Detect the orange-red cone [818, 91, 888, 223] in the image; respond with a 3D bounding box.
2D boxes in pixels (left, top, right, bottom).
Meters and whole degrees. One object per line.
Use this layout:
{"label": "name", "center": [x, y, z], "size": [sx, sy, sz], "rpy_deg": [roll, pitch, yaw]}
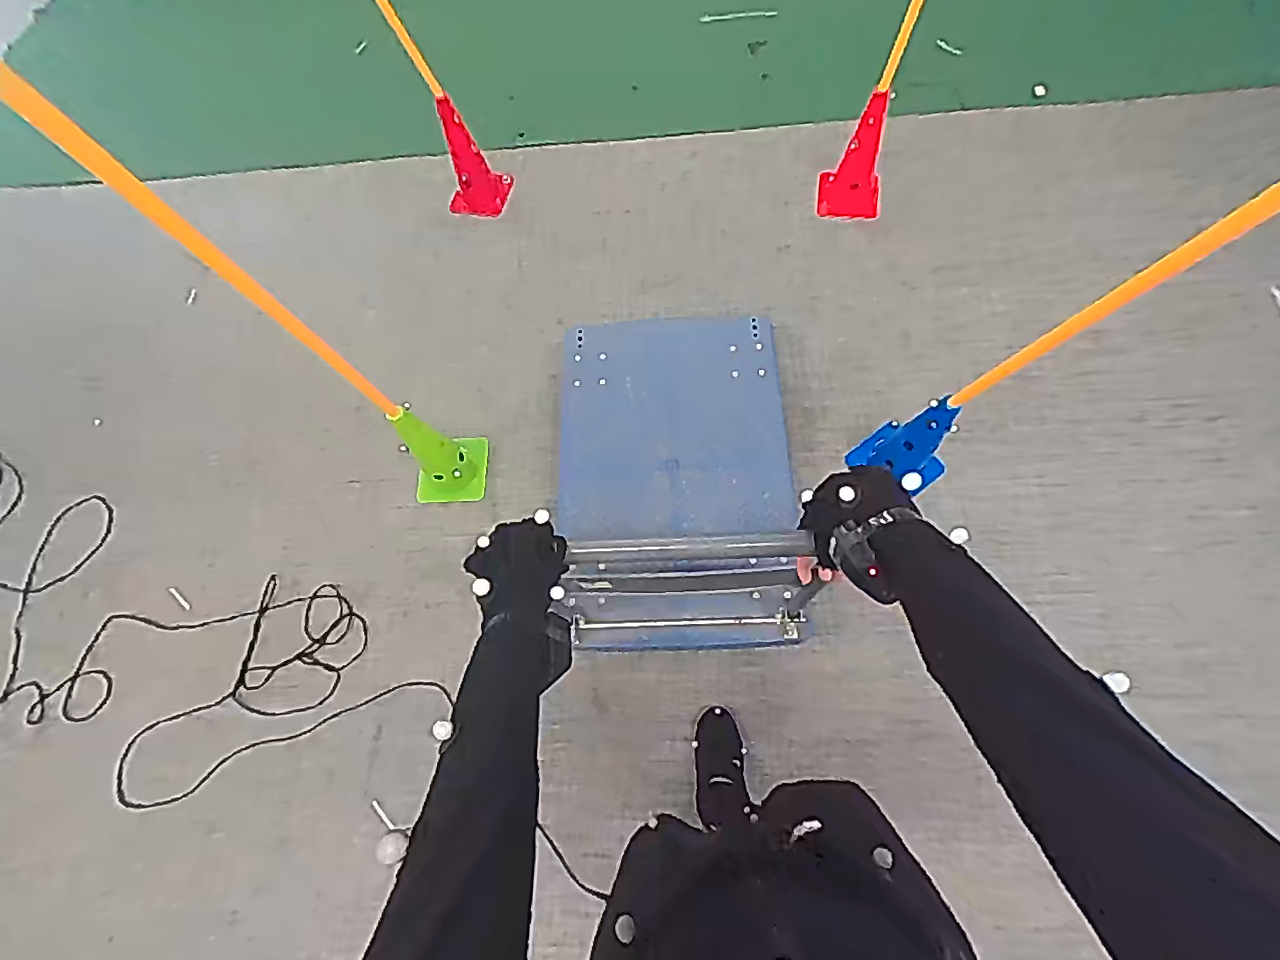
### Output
{"label": "orange-red cone", "center": [0.690, -1.006, 1.666], "size": [0.198, 0.360, 0.199], "rpy_deg": [8, 71, 9]}
